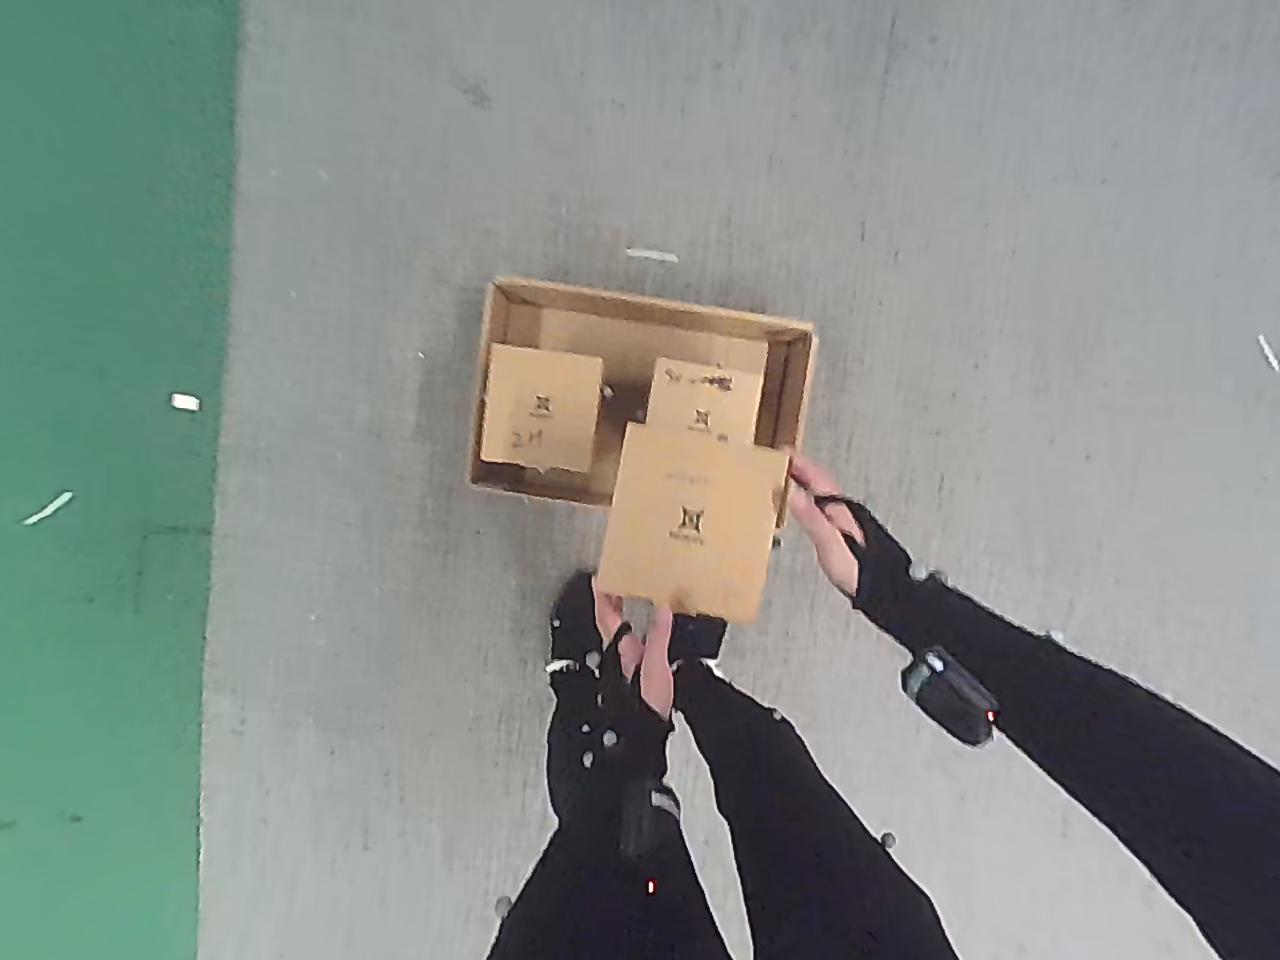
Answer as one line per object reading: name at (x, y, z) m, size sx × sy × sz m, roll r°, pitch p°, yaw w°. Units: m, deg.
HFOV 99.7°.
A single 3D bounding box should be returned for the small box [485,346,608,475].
small box at (-0.145, -0.109, 0.893) m, size 0.168 × 0.176 × 0.179 m, roll 8°, pitch 94°, yaw -3°
